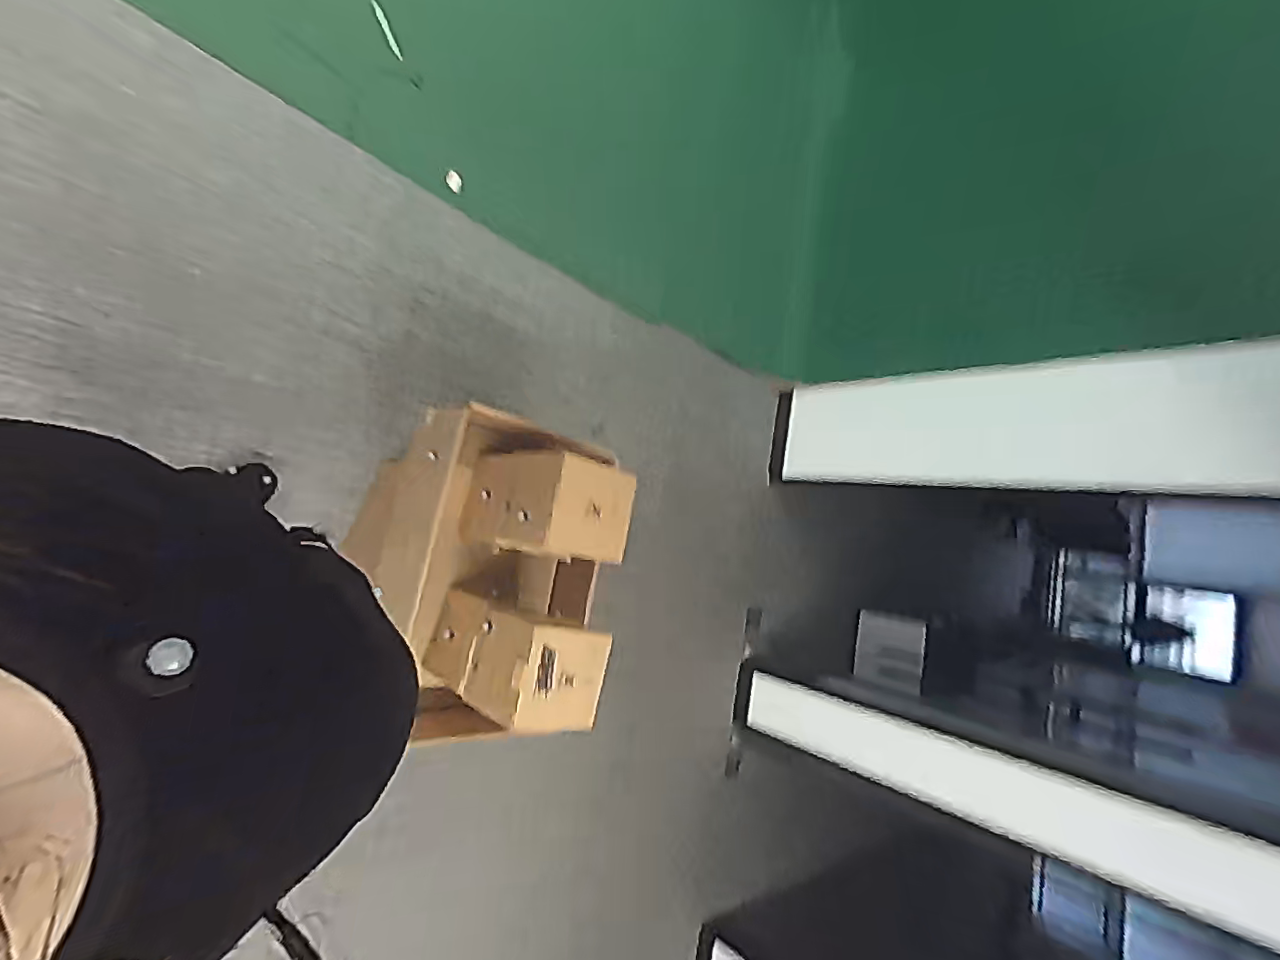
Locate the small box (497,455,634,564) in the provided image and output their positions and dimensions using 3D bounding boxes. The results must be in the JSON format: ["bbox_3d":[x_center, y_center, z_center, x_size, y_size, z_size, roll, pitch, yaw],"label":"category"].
[{"bbox_3d":[-0.142,0.056,1.017,0.179,0.176,0.168,20,78,-44],"label":"small box"}]

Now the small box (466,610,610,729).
[{"bbox_3d":[-0.188,0.339,0.983,0.179,0.176,0.168,23,76,-43],"label":"small box"}]
